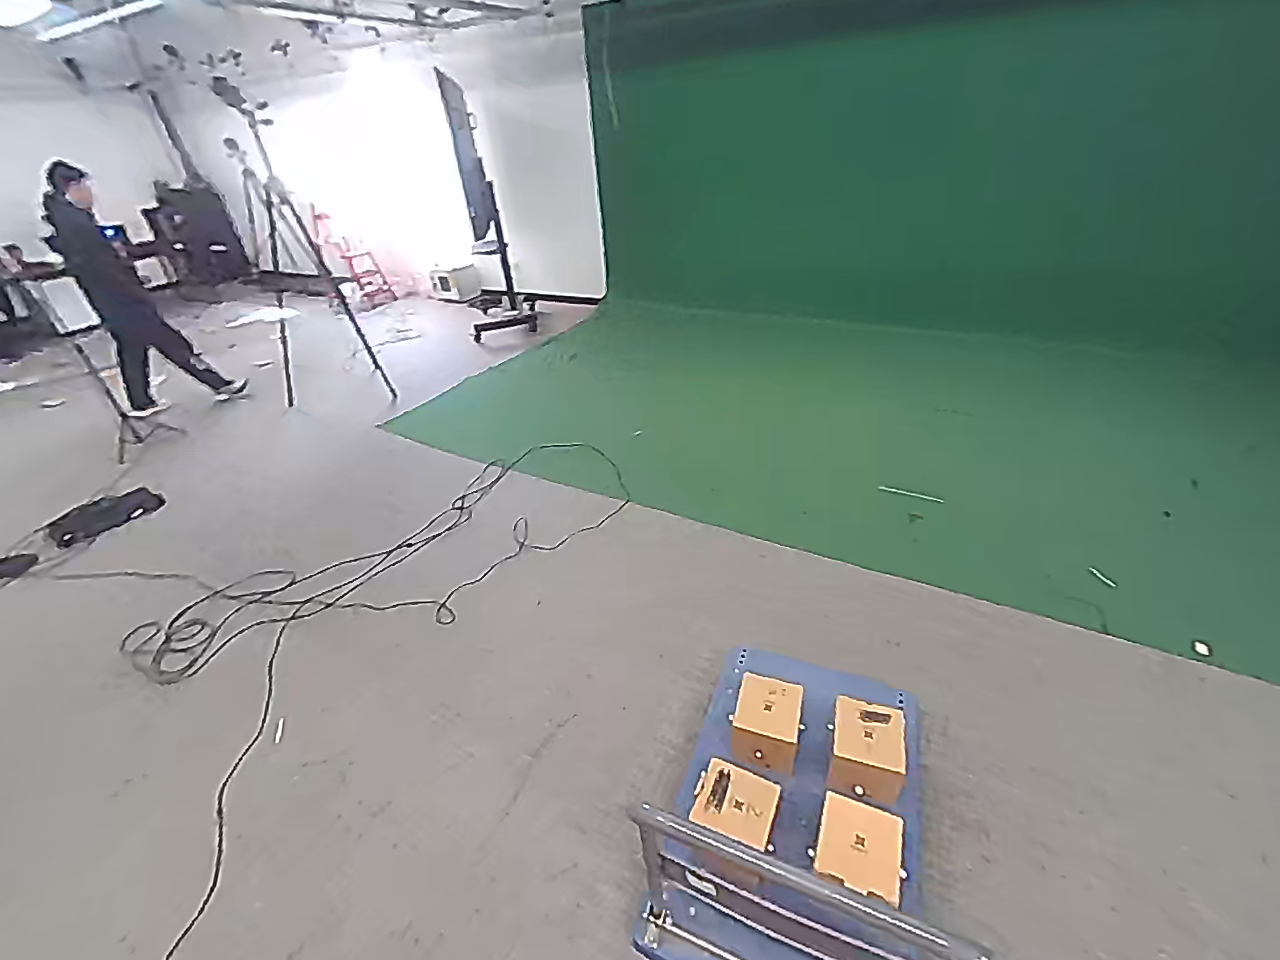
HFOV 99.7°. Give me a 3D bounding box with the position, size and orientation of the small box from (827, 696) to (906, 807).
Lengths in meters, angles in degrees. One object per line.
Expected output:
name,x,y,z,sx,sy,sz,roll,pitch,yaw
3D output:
small box,0.589,0.708,1.412,0.168,0.176,0.179,8,37,19

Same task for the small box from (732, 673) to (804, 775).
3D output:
small box,0.351,0.673,1.491,0.168,0.176,0.179,10,37,18

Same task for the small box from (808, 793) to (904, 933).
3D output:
small box,0.482,0.855,1.212,0.168,0.176,0.179,12,38,22
